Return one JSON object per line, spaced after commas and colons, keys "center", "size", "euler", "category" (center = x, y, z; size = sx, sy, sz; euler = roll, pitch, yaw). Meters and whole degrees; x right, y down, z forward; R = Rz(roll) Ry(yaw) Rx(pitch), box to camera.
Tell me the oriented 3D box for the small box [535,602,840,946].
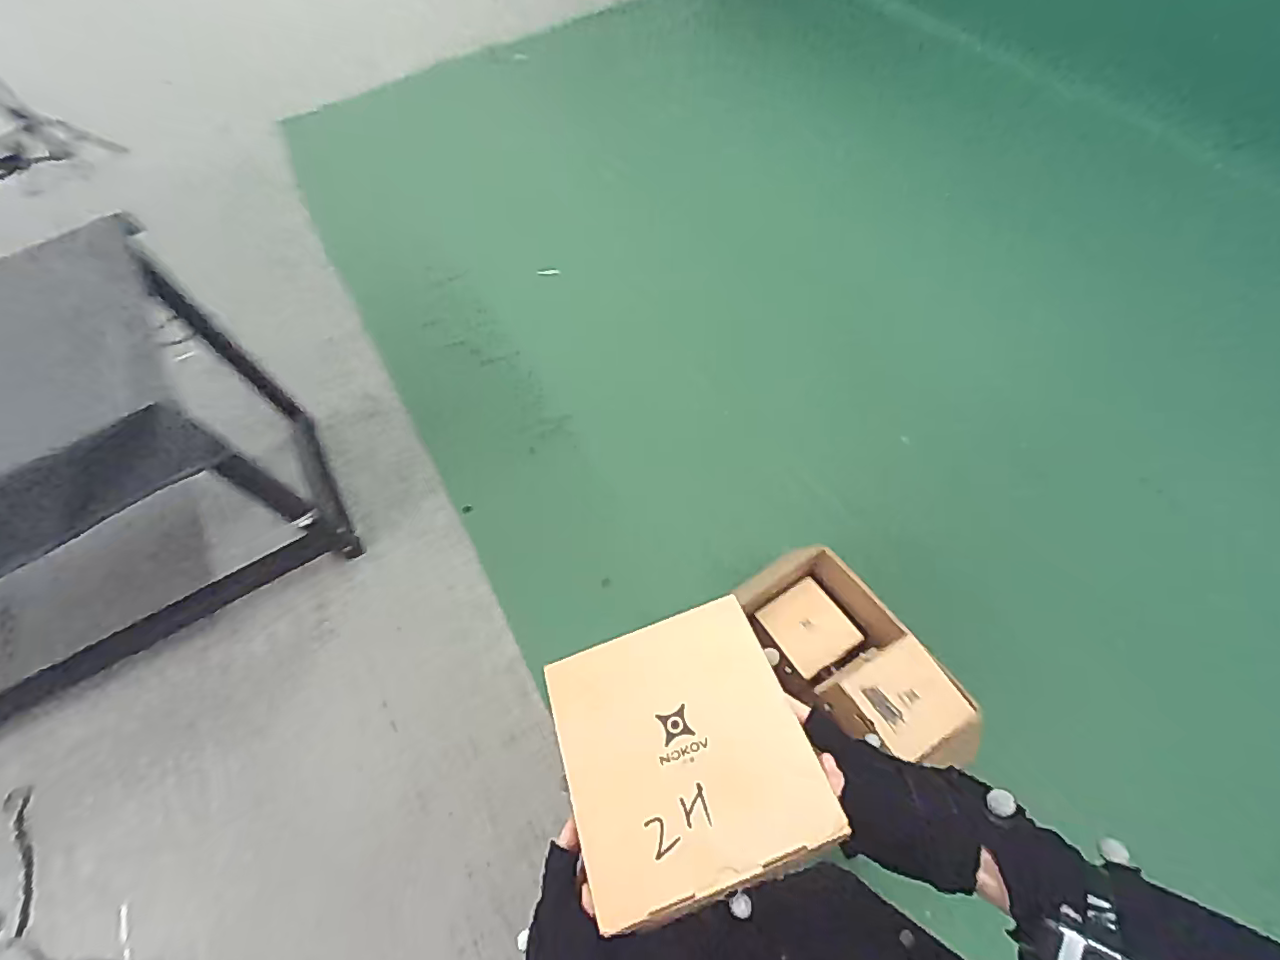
{"center": [0.031, 0.234, 0.435], "size": [0.168, 0.176, 0.179], "euler": [-21, 51, -5], "category": "small box"}
